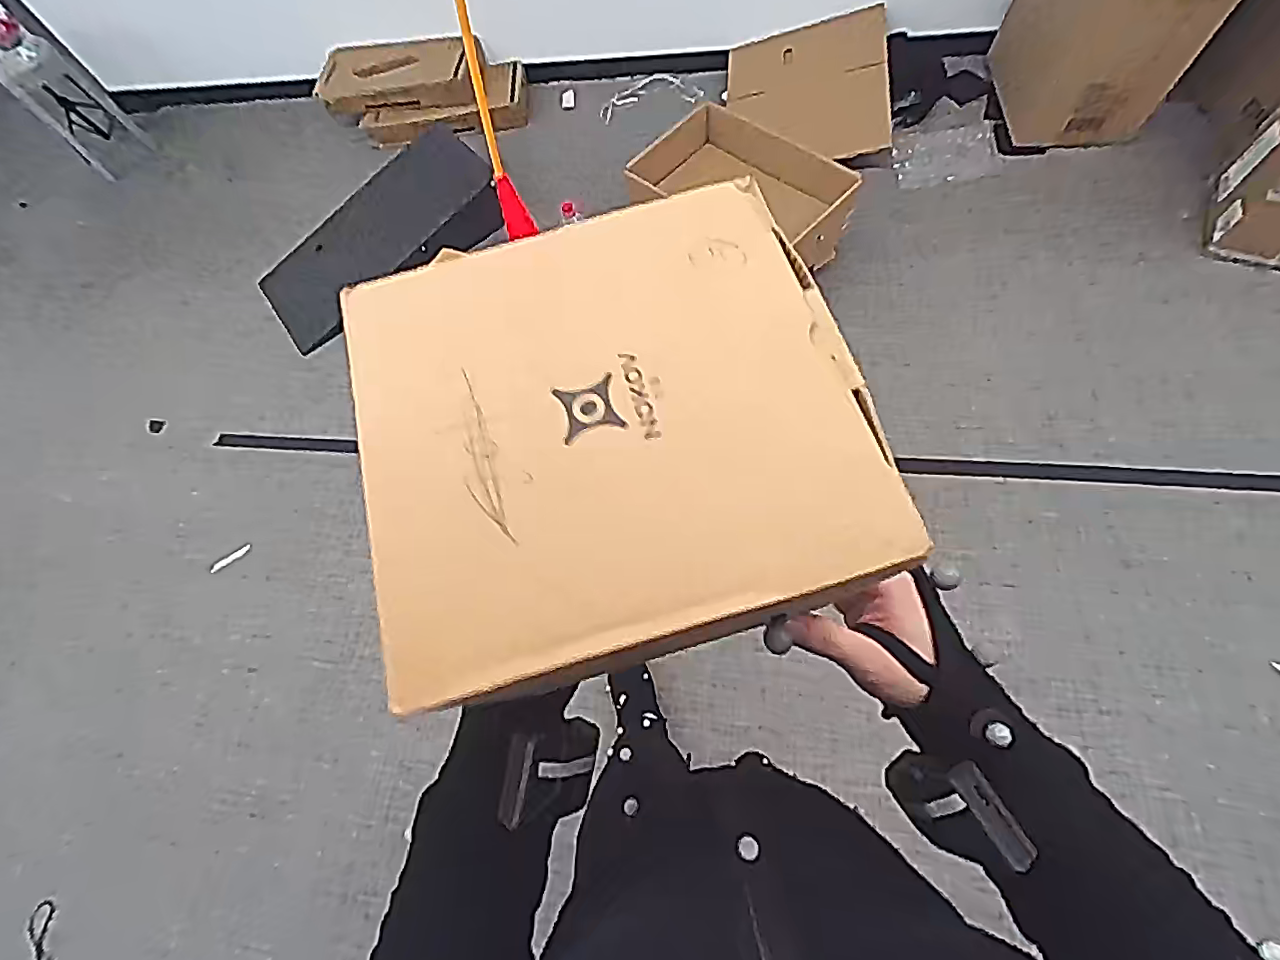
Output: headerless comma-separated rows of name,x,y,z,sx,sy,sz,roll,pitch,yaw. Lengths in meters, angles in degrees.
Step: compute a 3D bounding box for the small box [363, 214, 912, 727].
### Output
small box,-0.006,0.009,0.279,0.179,0.176,0.168,-18,70,-1
